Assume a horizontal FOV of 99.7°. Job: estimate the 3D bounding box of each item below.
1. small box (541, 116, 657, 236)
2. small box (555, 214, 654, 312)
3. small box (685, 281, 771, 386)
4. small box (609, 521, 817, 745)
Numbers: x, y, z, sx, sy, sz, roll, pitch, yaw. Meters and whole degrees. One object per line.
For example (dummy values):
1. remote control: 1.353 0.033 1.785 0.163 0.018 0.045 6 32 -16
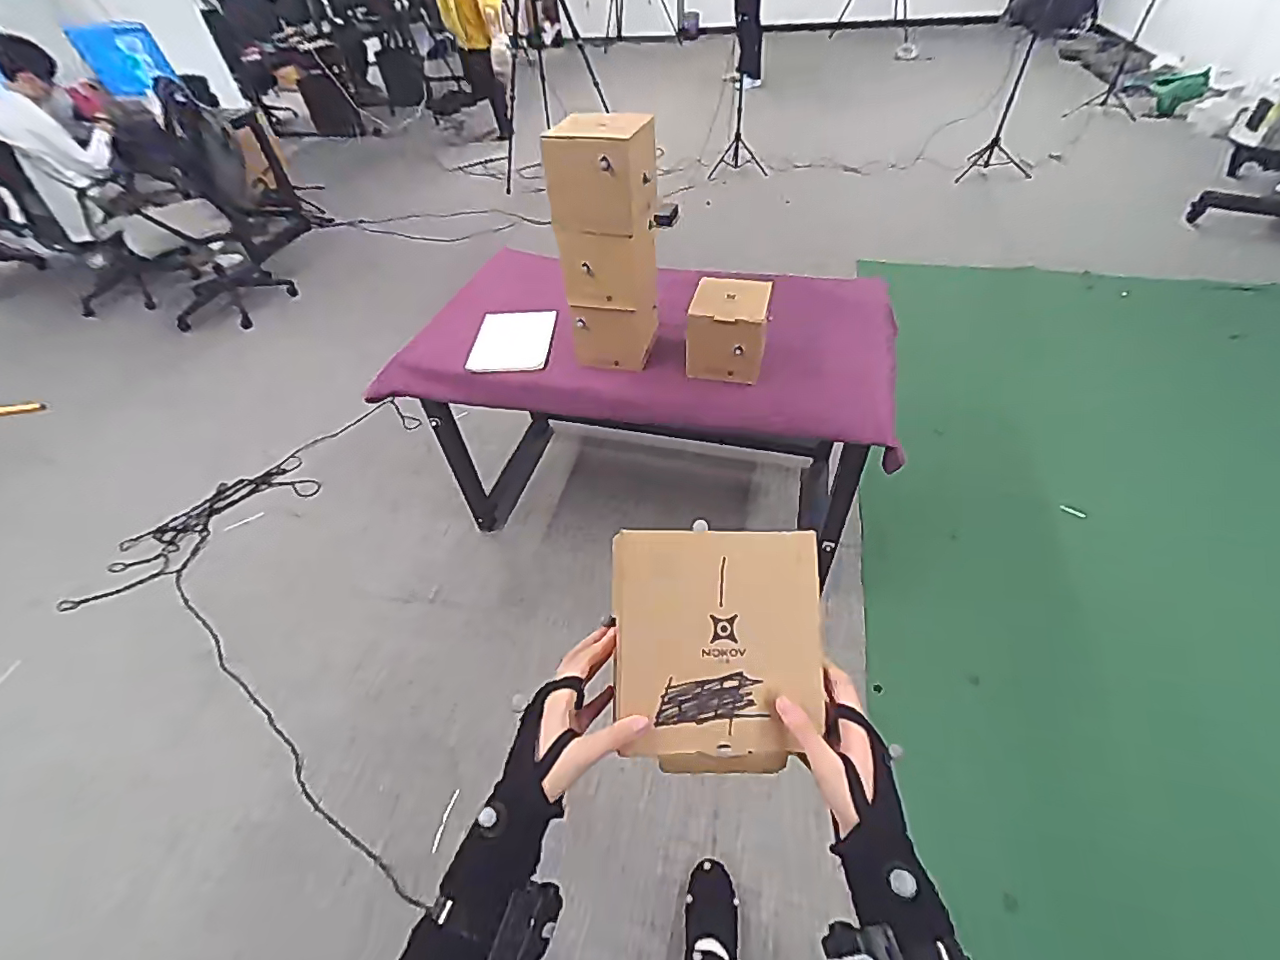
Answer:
1. small box: -0.070 -0.597 1.066 0.179 0.176 0.168 11 47 15
2. small box: -0.068 -0.489 1.190 0.168 0.176 0.179 9 47 13
3. small box: 0.204 -0.339 1.254 0.168 0.176 0.179 10 47 12
4. small box: 0.057 0.134 0.517 0.168 0.176 0.179 2 80 -5
